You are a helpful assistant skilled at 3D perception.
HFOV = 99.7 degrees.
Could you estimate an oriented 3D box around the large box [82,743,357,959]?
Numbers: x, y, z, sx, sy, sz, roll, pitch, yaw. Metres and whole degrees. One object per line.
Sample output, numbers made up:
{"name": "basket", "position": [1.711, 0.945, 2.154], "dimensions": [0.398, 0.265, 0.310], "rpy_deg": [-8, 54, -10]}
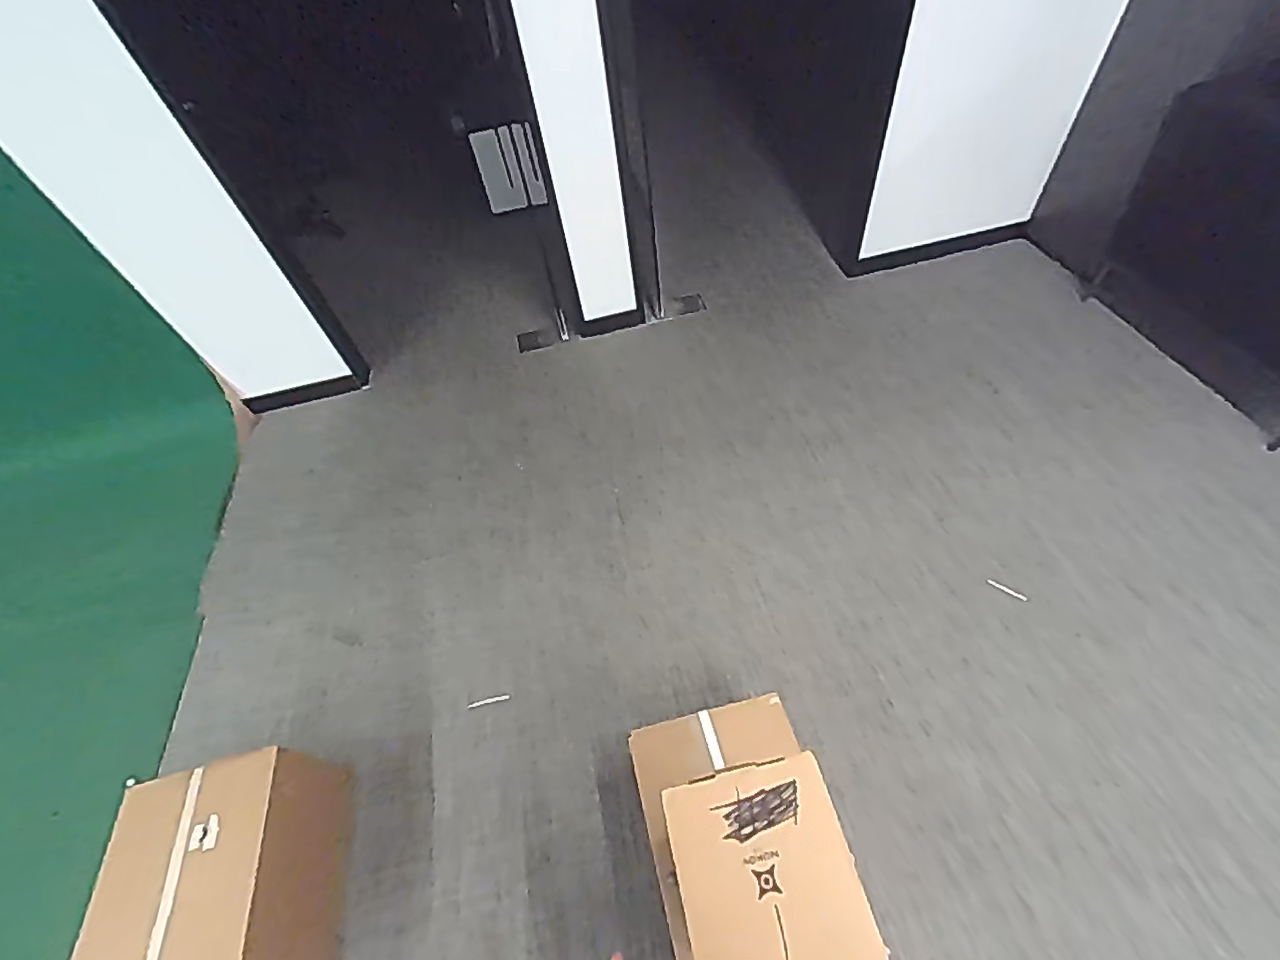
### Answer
{"name": "large box", "position": [-0.825, 0.826, 1.112], "dimensions": [0.320, 0.320, 0.408], "rpy_deg": [-15, 51, -3]}

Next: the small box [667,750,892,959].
{"name": "small box", "position": [0.130, 0.411, 0.572], "dimensions": [0.168, 0.176, 0.179], "rpy_deg": [-14, 54, -1]}
